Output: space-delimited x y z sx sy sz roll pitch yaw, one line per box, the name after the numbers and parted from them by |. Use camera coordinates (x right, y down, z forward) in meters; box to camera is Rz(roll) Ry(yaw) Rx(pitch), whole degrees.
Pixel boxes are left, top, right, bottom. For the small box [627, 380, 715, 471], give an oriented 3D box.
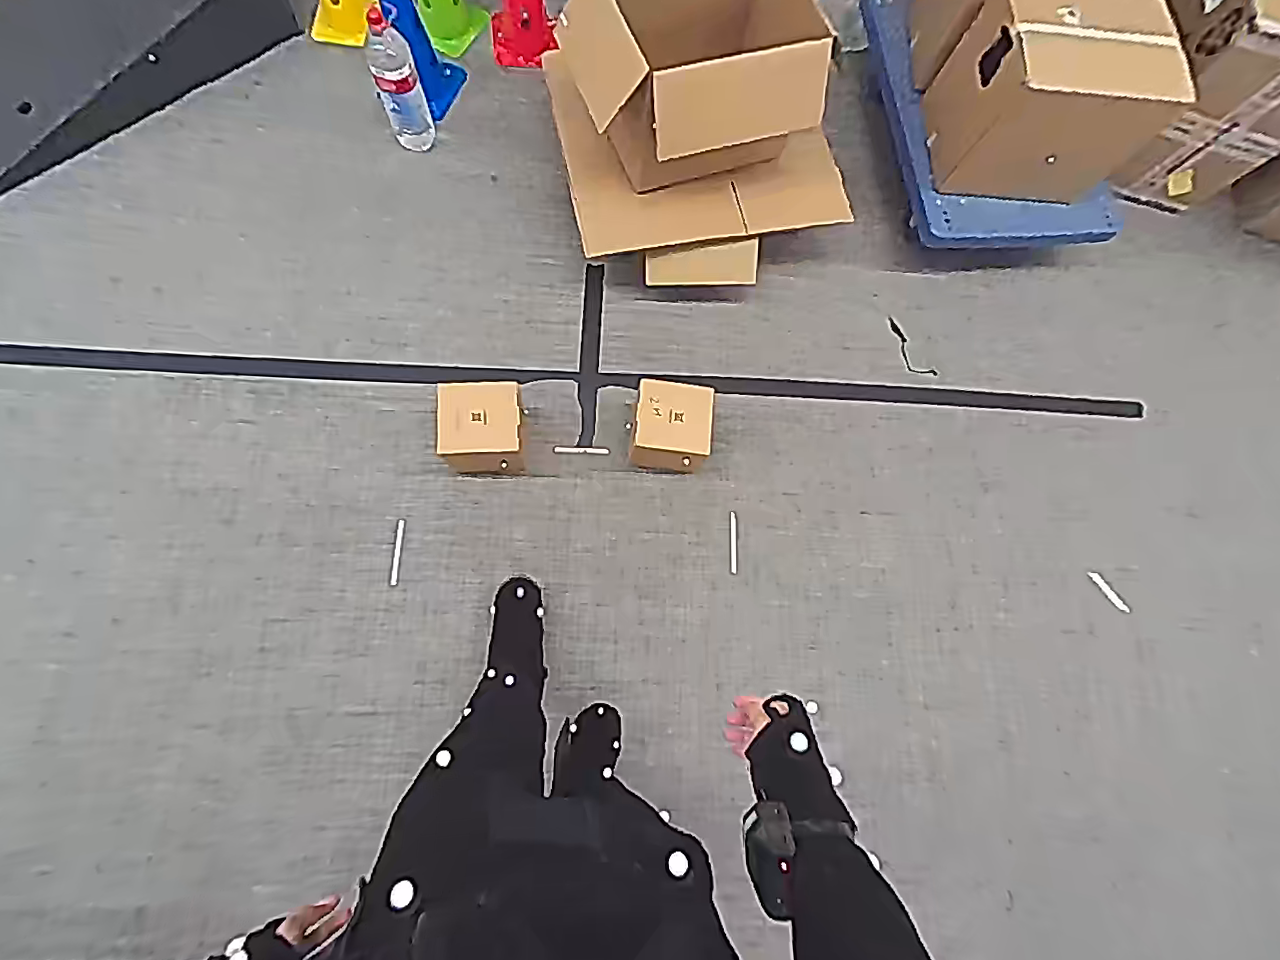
0.071 -0.123 1.305 0.179 0.176 0.168 7 76 -5 | small box

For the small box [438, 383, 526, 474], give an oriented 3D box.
-0.359 -0.115 1.256 0.179 0.176 0.168 -3 76 -6 | small box
